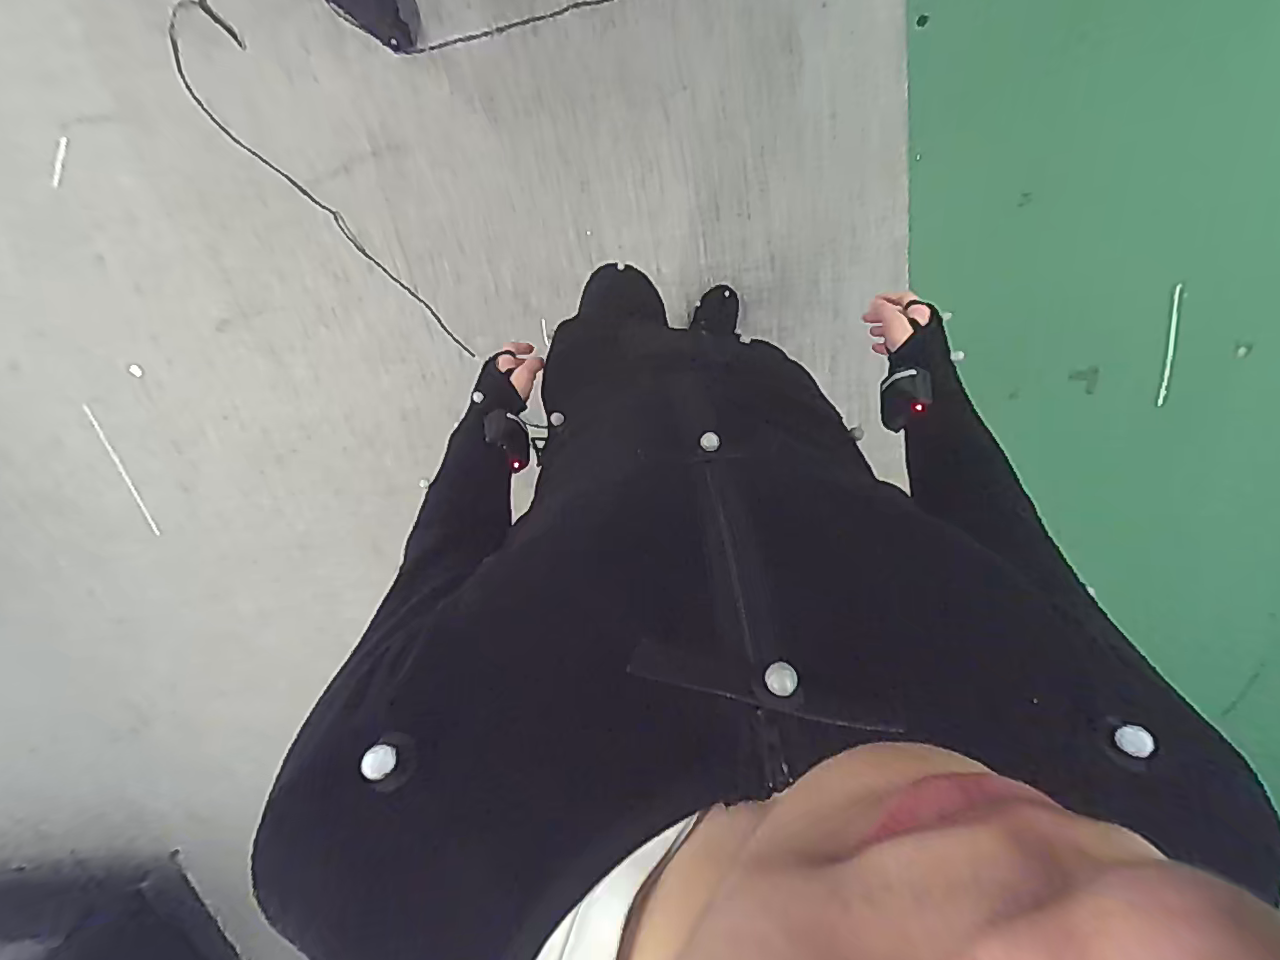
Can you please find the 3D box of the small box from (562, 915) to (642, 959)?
[{"bbox_3d":[-0.103,1.301,1.439,0.168,0.176,0.179,-22,107,12],"label":"small box"}]
